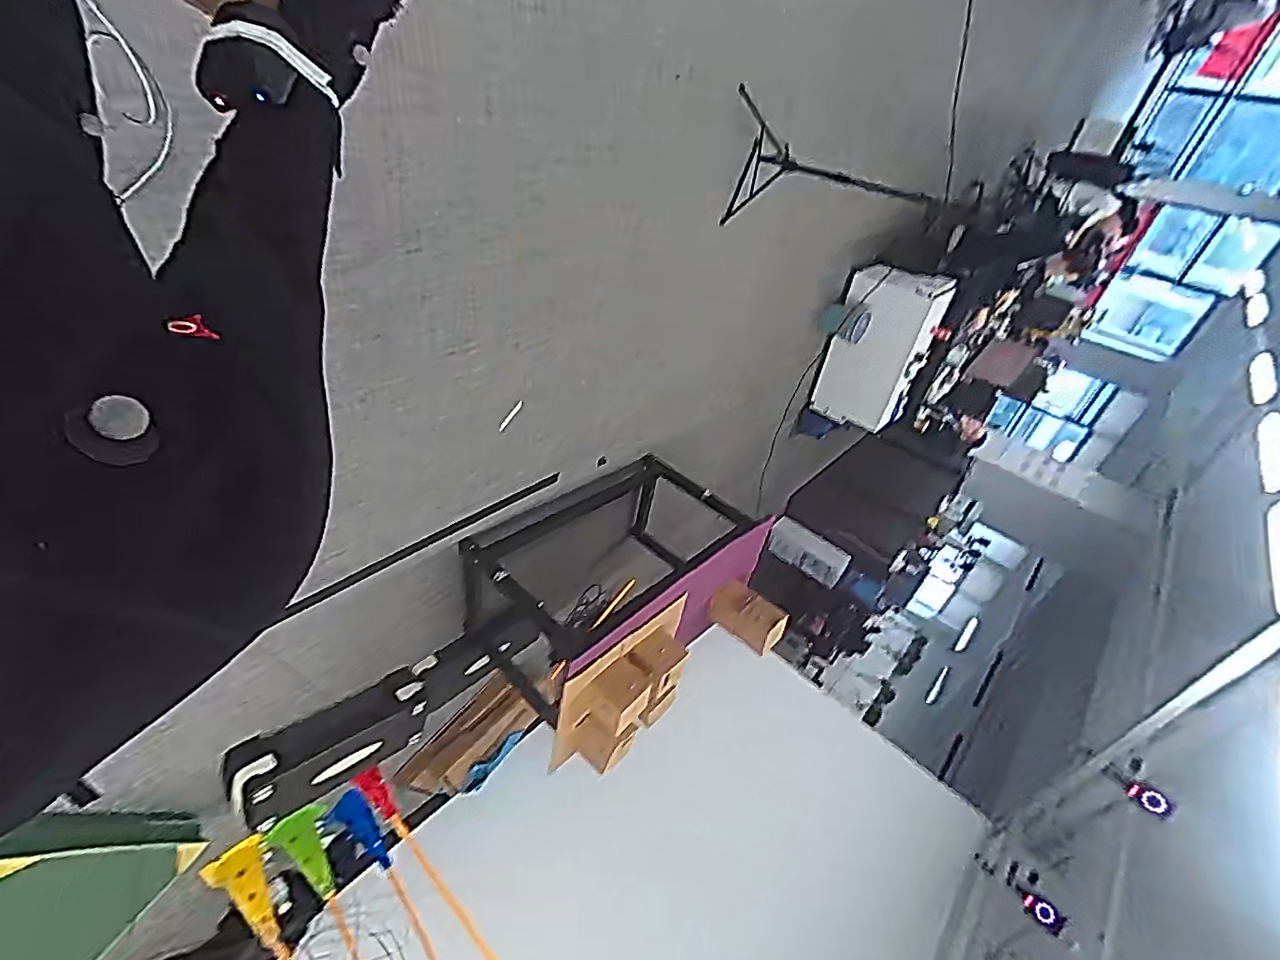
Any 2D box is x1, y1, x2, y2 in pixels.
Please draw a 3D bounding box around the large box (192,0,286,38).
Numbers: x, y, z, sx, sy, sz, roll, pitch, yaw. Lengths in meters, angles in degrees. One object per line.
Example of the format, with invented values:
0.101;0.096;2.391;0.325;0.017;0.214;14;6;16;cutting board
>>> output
-0.413;-0.594;0.311;0.320;0.320;0.408;-53;153;9;large box
